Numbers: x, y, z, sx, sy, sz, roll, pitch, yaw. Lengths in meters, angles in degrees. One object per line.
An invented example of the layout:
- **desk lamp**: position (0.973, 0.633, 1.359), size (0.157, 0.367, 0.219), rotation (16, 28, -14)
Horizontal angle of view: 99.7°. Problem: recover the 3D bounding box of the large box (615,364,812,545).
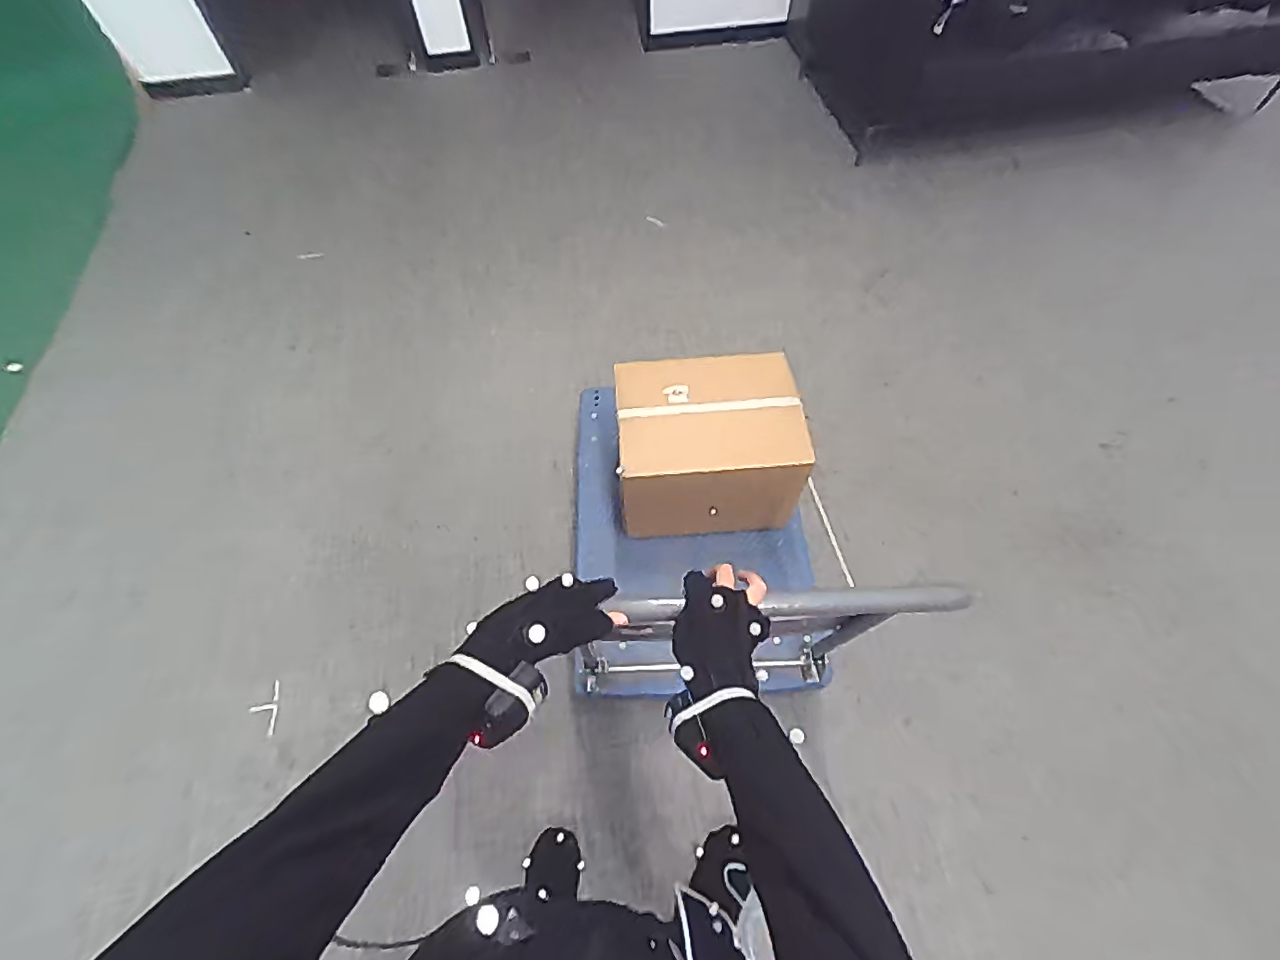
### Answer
- **large box**: position (0.155, -0.053, 1.326), size (0.408, 0.320, 0.320), rotation (-5, 58, -2)
